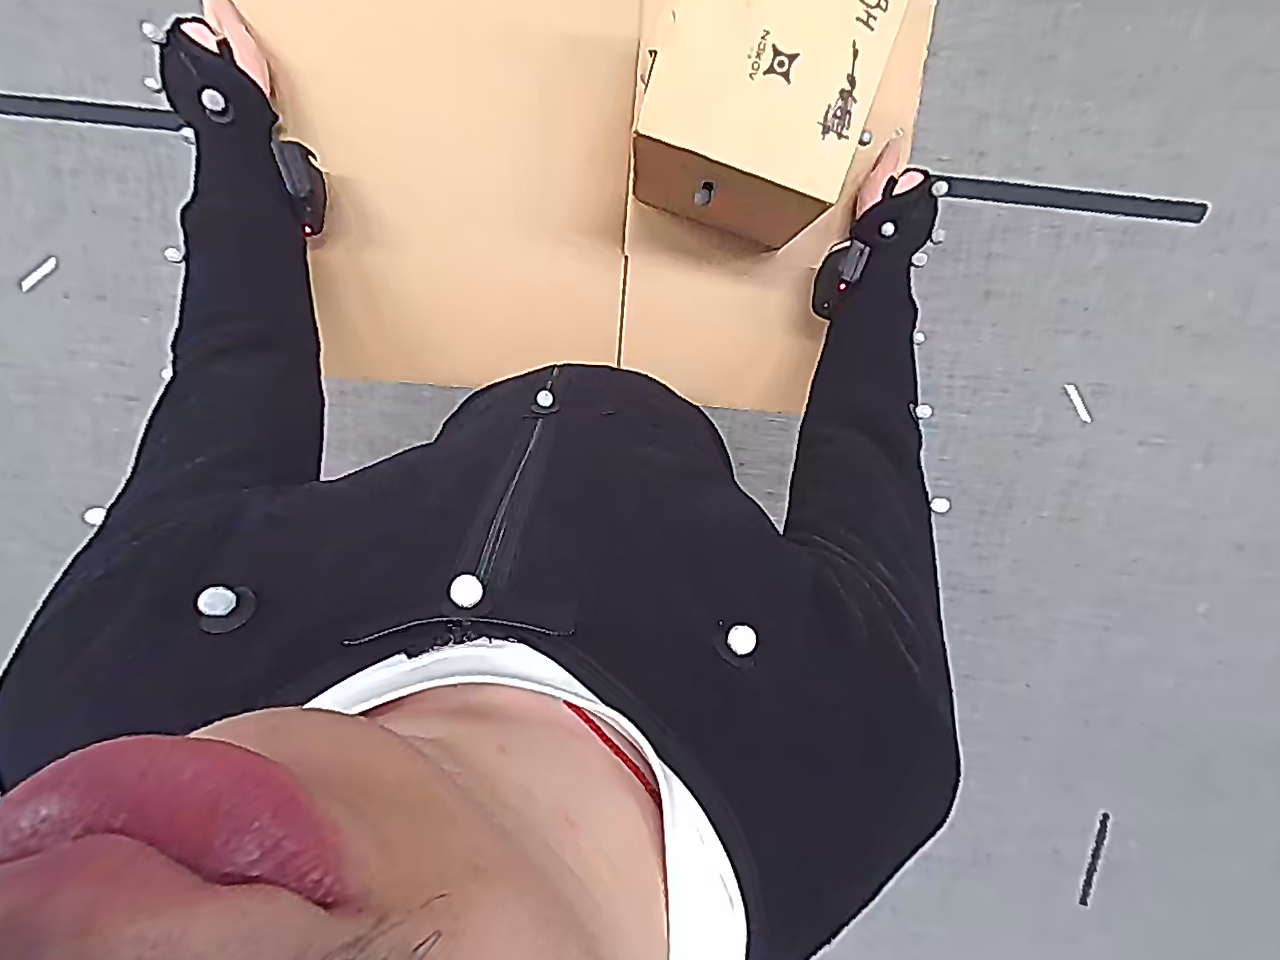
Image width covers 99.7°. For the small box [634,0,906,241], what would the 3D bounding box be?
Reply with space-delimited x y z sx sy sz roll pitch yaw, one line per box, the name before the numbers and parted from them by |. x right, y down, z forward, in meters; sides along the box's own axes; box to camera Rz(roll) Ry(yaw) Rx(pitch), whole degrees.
small box | 0.102 -0.345 0.505 0.179 0.176 0.168 18 100 -3
